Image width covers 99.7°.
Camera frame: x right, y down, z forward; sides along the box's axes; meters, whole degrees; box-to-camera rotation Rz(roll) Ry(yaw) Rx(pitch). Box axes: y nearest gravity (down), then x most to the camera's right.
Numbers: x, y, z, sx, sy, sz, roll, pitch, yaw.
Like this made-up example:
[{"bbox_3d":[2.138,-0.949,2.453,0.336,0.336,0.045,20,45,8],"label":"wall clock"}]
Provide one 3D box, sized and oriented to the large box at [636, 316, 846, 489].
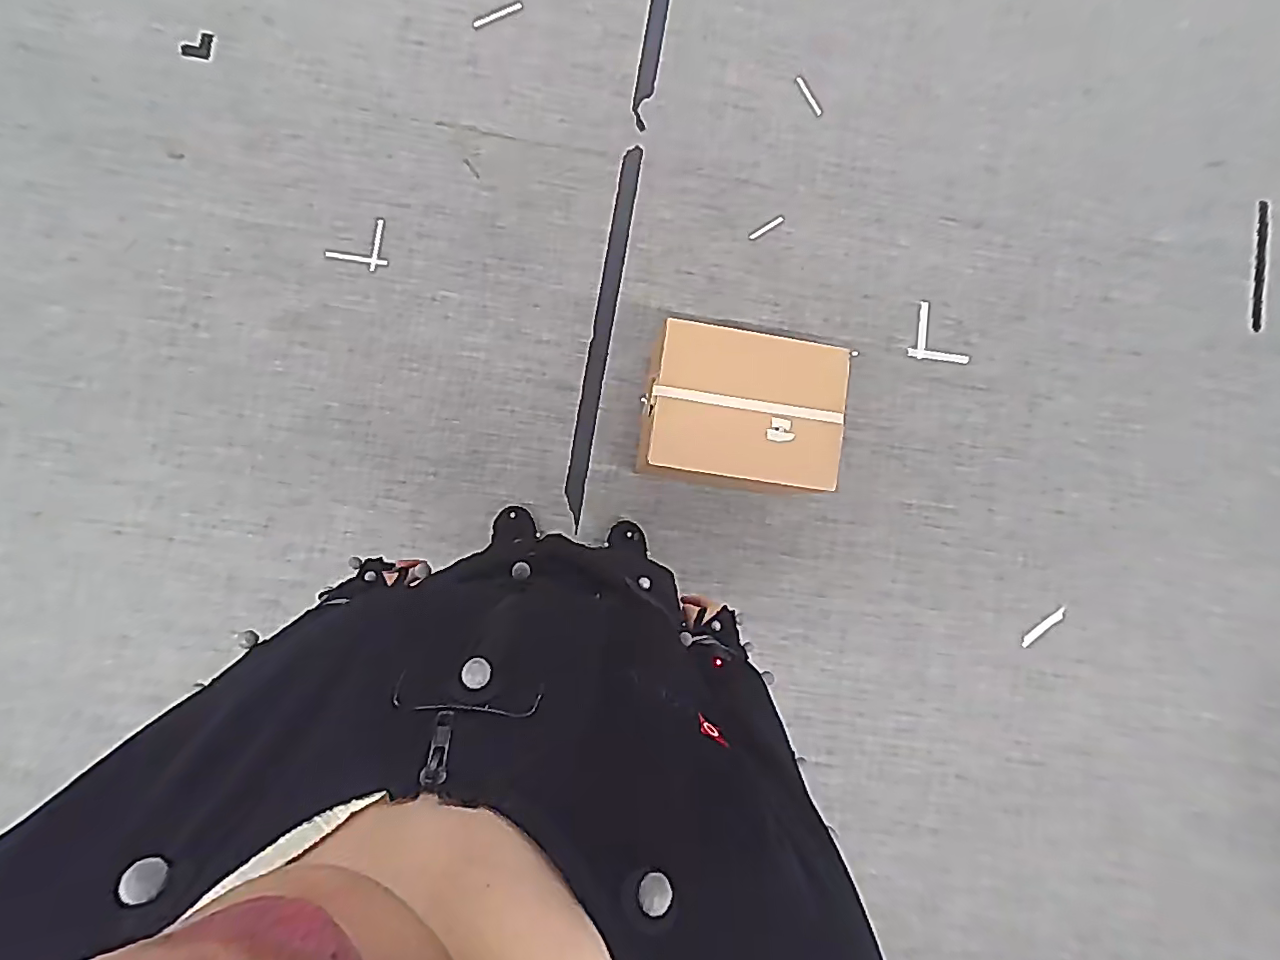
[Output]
[{"bbox_3d":[0.214,-0.159,1.281,0.408,0.320,0.320,8,87,-6],"label":"large box"}]
